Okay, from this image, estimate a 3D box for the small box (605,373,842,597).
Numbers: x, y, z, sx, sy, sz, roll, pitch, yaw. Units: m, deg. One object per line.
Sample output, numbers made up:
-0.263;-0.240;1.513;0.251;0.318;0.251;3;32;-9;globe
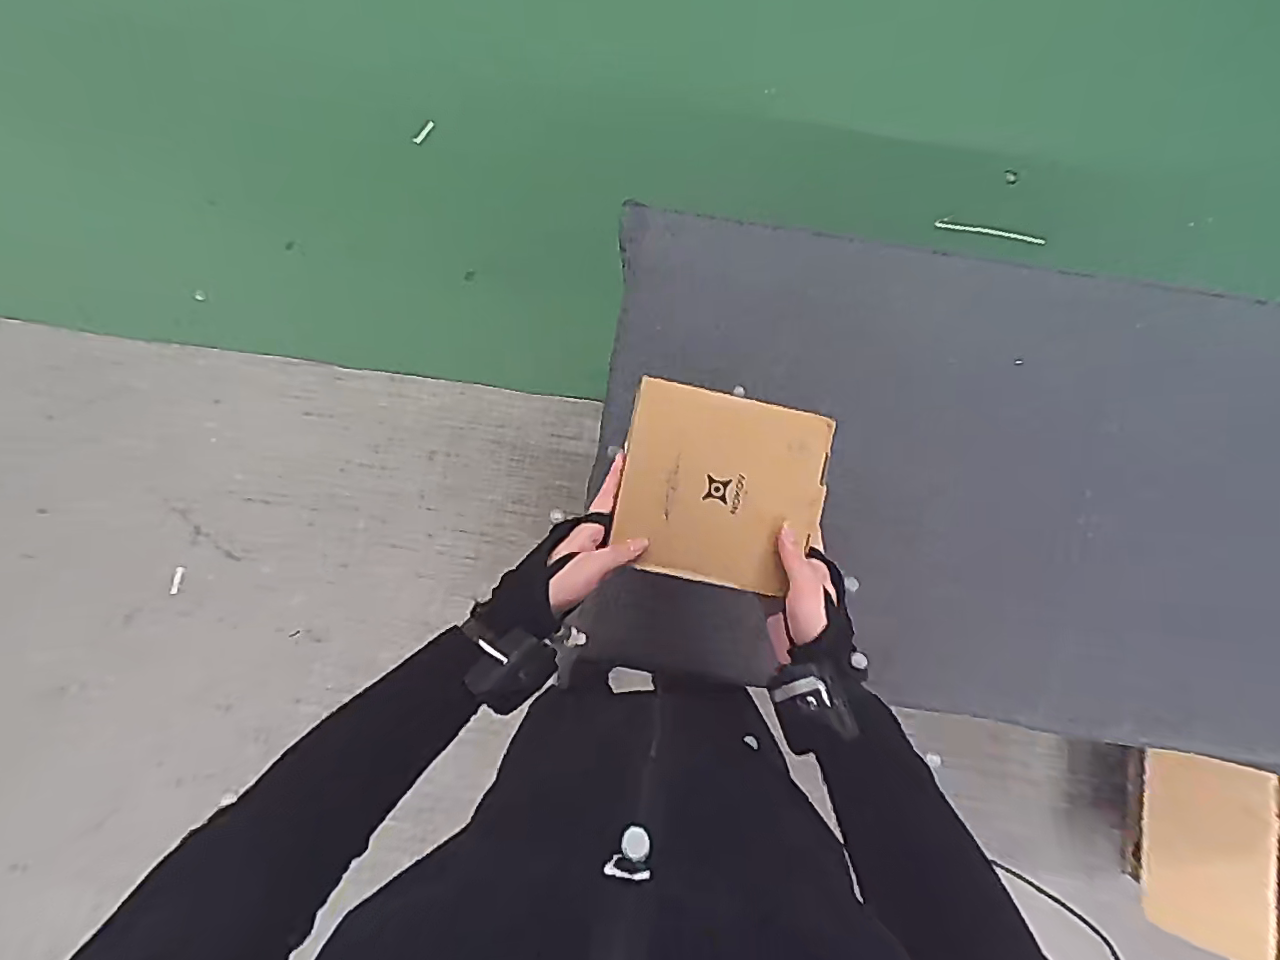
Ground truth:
0.068;0.001;0.536;0.179;0.176;0.168;11;92;-2;small box
